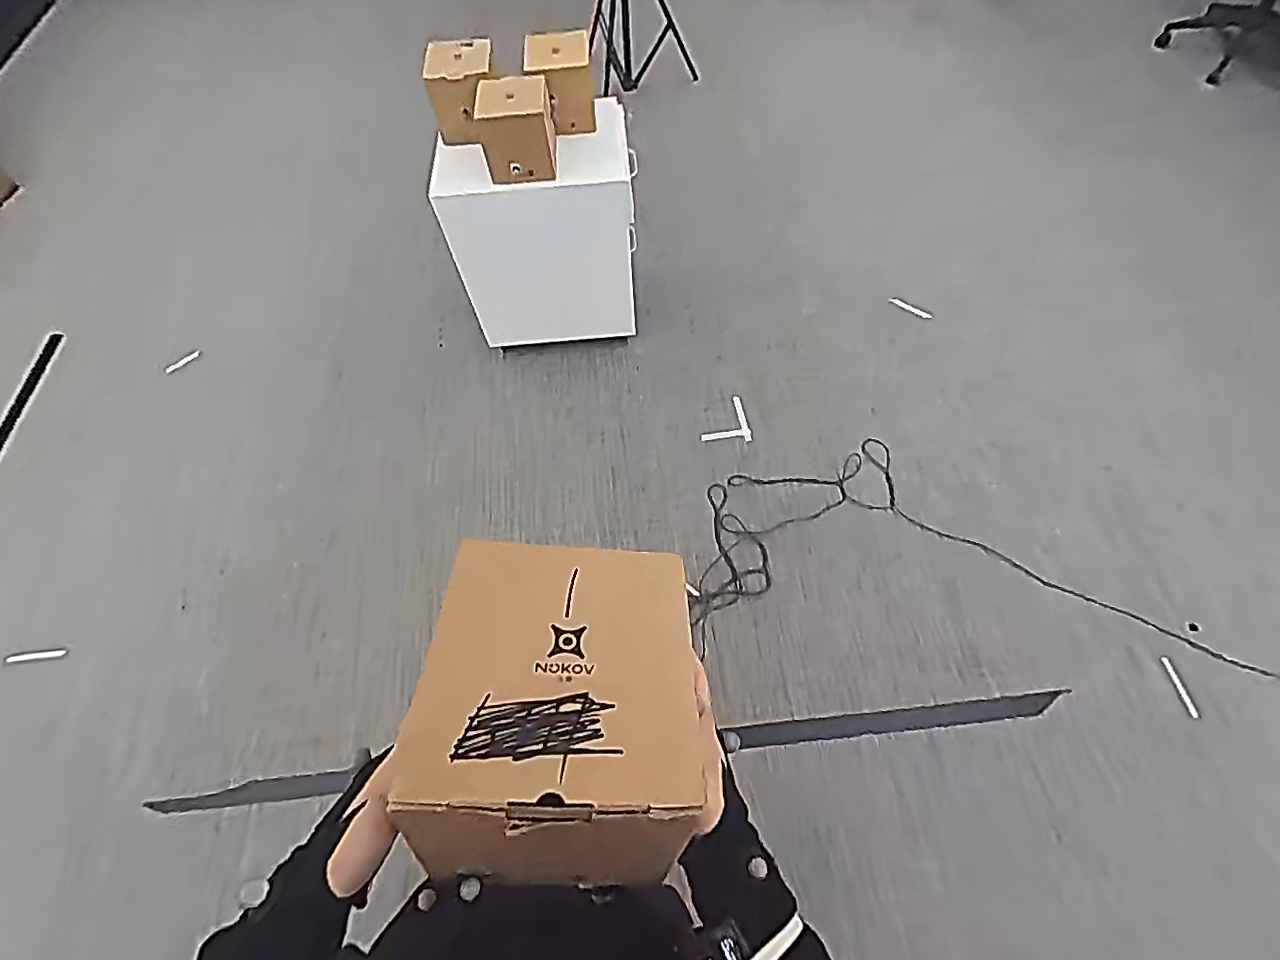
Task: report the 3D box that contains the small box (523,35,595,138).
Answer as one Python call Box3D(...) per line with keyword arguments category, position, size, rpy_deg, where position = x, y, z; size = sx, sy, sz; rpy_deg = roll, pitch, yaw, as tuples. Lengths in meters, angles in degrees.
Box3D(category="small box", position=(-0.214, -1.049, 1.456), size=(0.168, 0.176, 0.179), rpy_deg=(-5, 62, 0))

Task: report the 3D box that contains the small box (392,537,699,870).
Box3D(category="small box", position=(-0.056, 0.165, 0.397), size=(0.168, 0.176, 0.179), rpy_deg=(4, 42, -5))

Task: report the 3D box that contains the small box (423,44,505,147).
Box3D(category="small box", position=(-0.464, -1.022, 1.450), size=(0.168, 0.176, 0.179), rpy_deg=(-5, 63, -1))
